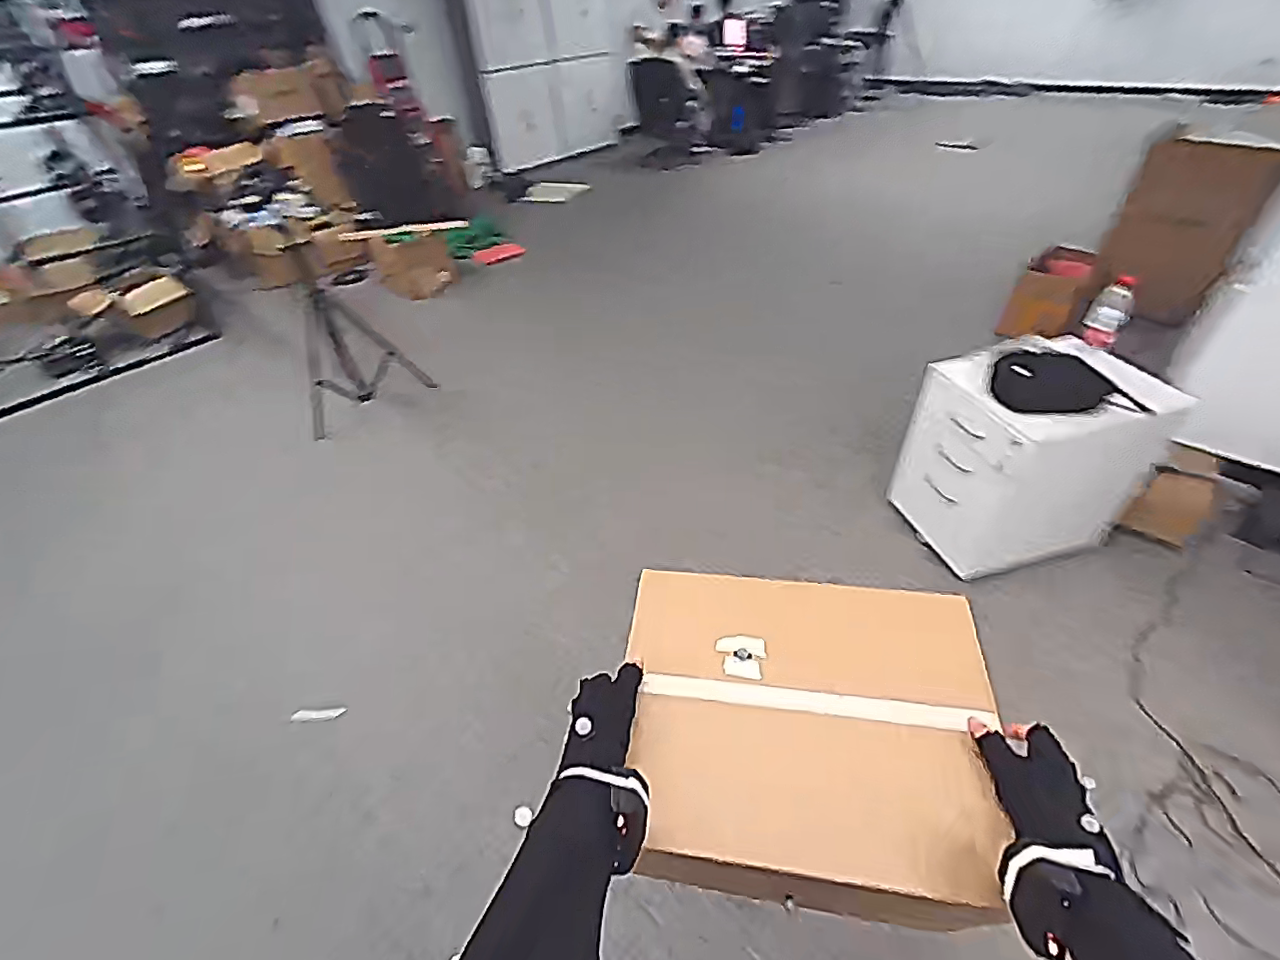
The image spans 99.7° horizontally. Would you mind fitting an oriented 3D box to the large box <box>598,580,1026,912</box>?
[{"bbox_3d":[0.188,0.351,0.720,0.408,0.320,0.320,2,48,10],"label":"large box"}]
